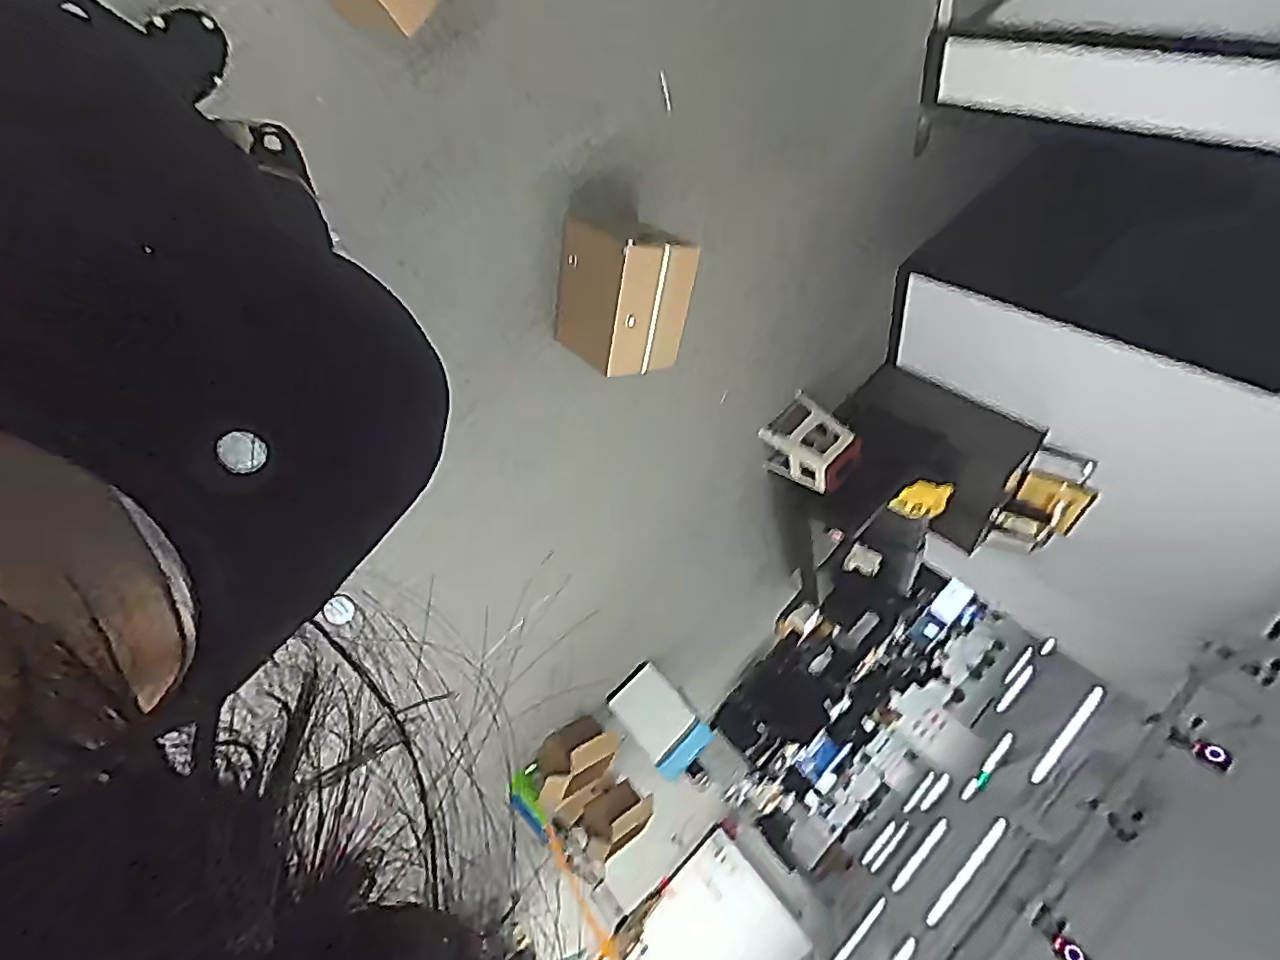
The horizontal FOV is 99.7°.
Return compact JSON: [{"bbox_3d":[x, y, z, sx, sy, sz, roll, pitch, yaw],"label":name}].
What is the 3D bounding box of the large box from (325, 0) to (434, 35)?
[{"bbox_3d":[-0.501,-1.041,0.870,0.320,0.320,0.408,-52,146,-1],"label":"large box"}]
